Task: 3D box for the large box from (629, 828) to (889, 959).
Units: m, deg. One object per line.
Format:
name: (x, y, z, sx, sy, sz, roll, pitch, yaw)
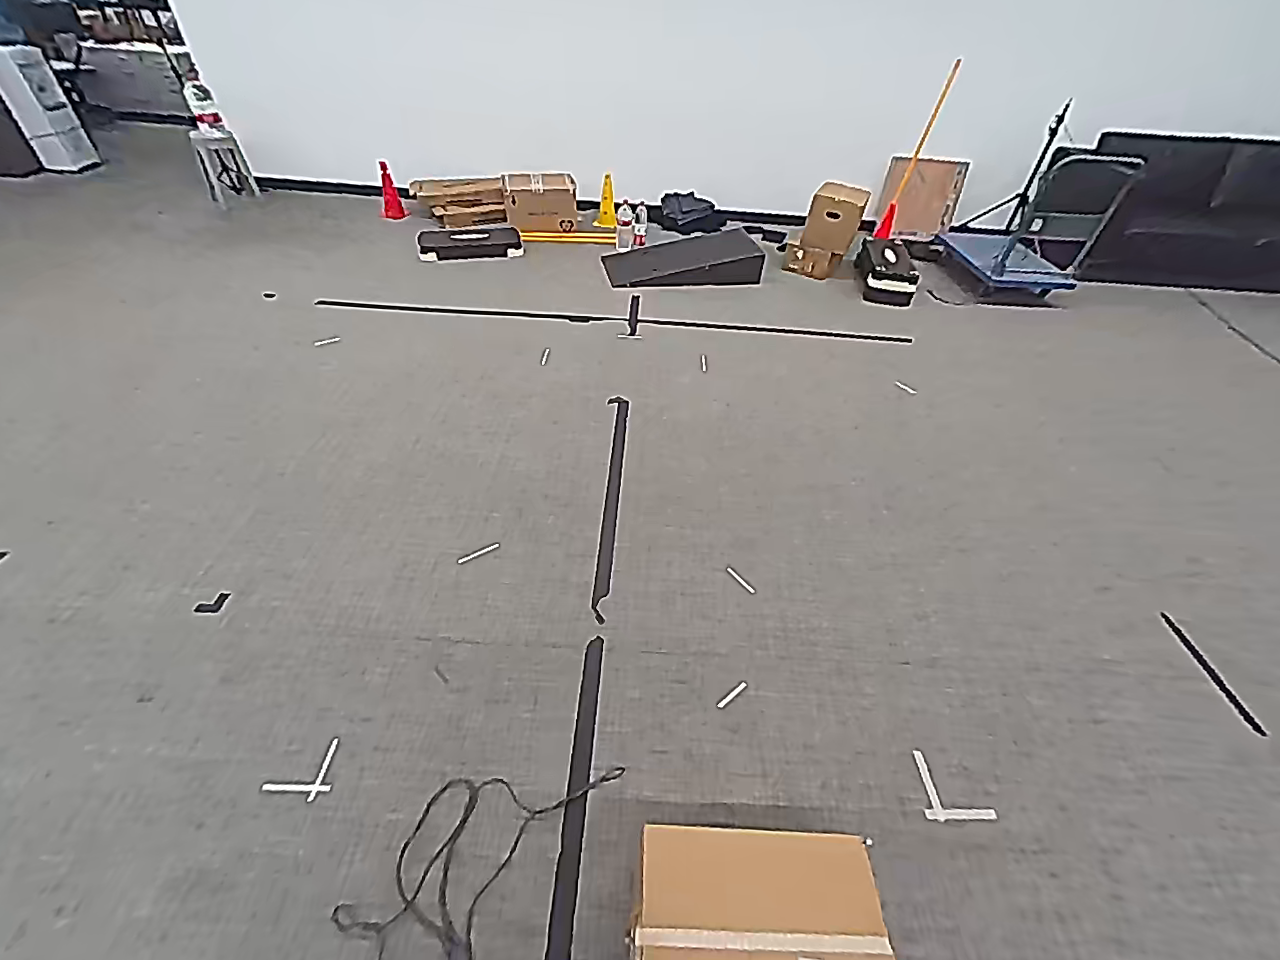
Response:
large box: (0.188, 0.852, 0.964, 0.408, 0.320, 0.320, 4, 42, -2)
